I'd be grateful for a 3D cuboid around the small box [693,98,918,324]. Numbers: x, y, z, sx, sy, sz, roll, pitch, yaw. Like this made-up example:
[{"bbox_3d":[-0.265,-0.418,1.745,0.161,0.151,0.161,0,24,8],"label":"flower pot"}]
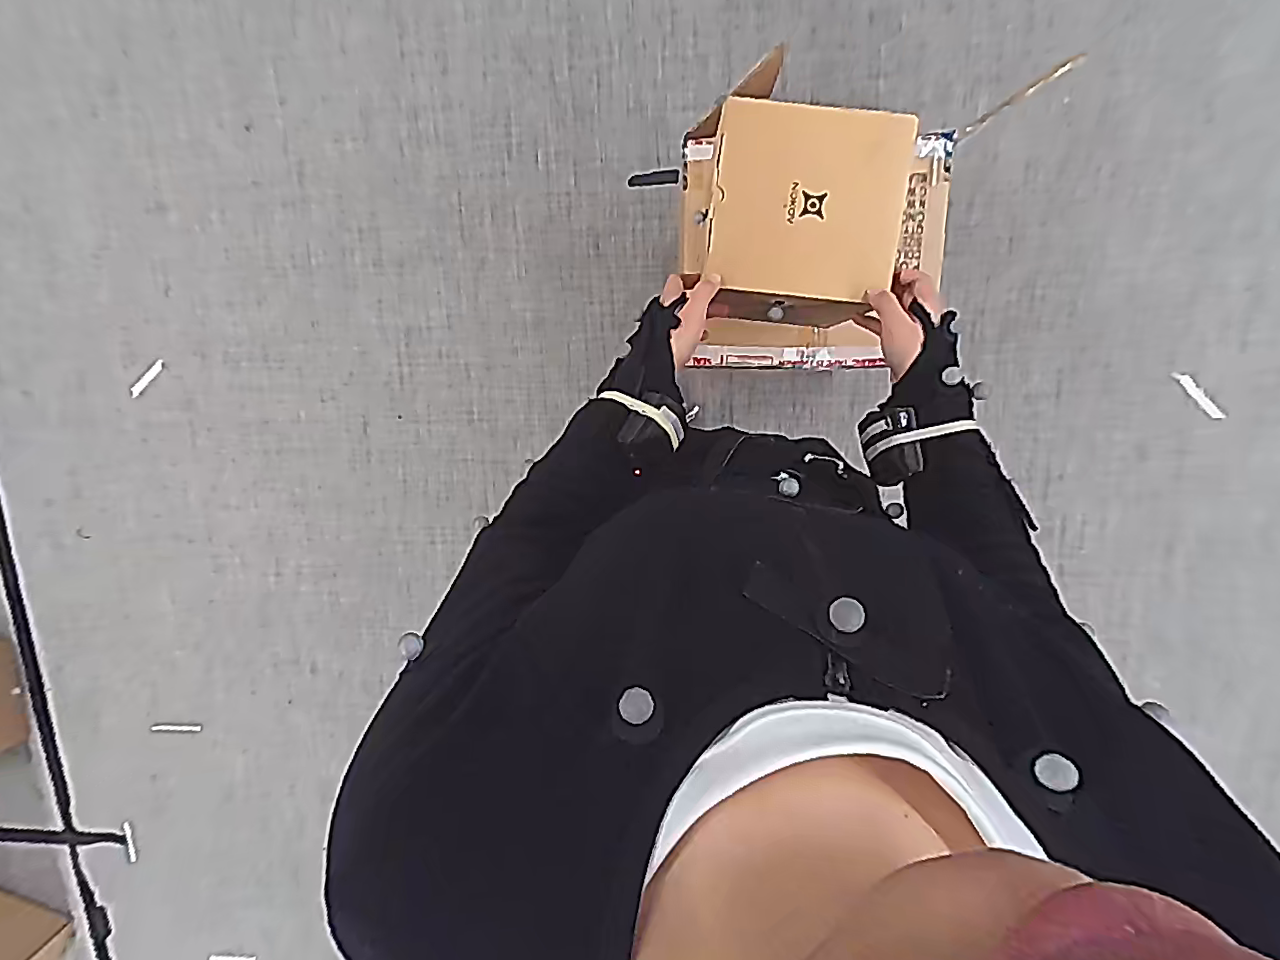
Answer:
[{"bbox_3d":[0.157,-0.265,0.574,0.179,0.176,0.168,6,99,1],"label":"small box"}]
